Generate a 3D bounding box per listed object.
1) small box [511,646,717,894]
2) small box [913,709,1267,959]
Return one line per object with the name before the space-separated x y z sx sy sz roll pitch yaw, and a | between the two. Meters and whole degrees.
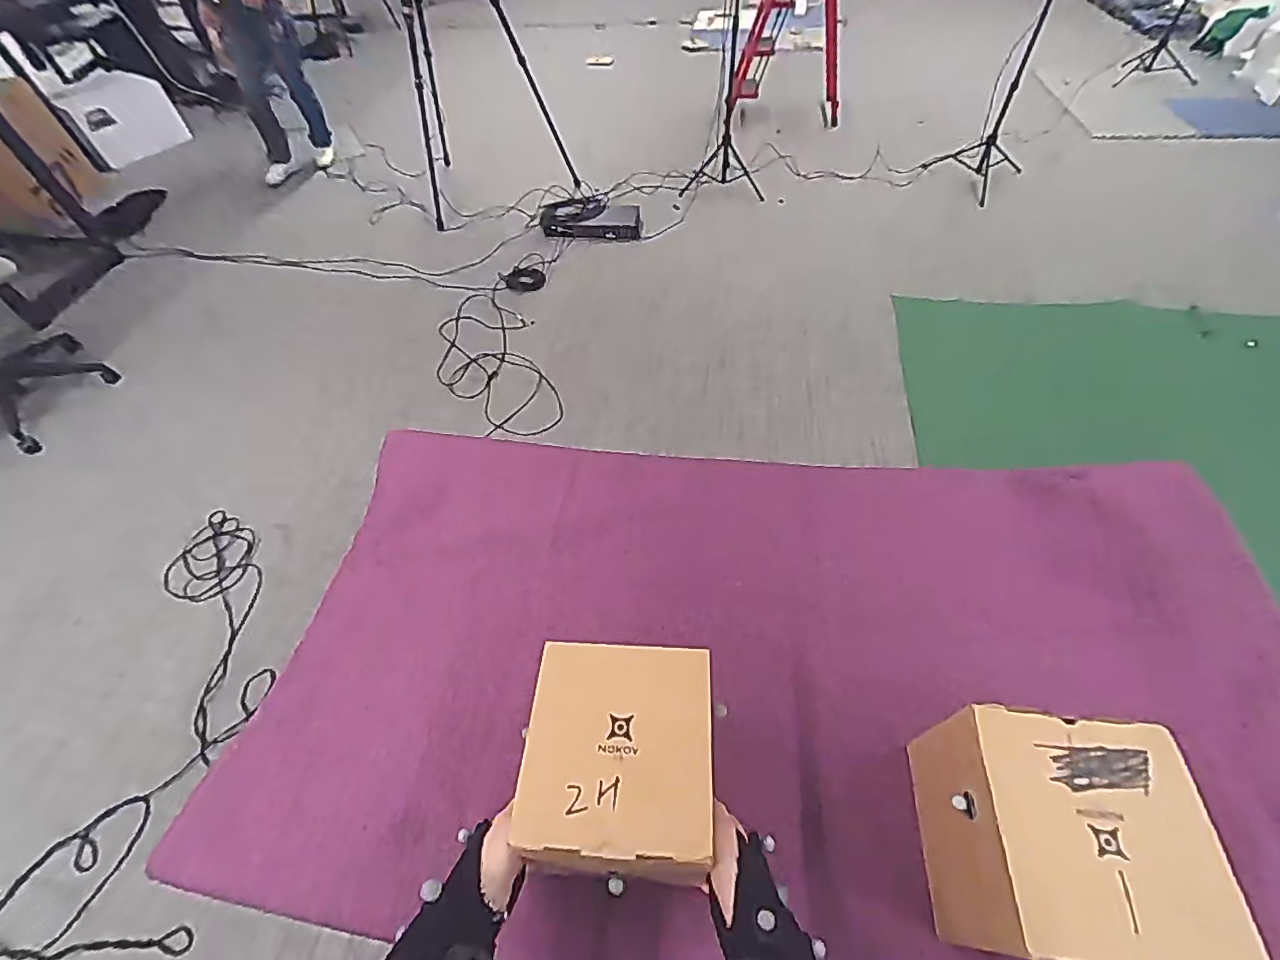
small box | -0.013 0.286 0.536 0.168 0.176 0.179 1 48 4
small box | 0.370 0.331 0.491 0.168 0.176 0.179 4 52 6
